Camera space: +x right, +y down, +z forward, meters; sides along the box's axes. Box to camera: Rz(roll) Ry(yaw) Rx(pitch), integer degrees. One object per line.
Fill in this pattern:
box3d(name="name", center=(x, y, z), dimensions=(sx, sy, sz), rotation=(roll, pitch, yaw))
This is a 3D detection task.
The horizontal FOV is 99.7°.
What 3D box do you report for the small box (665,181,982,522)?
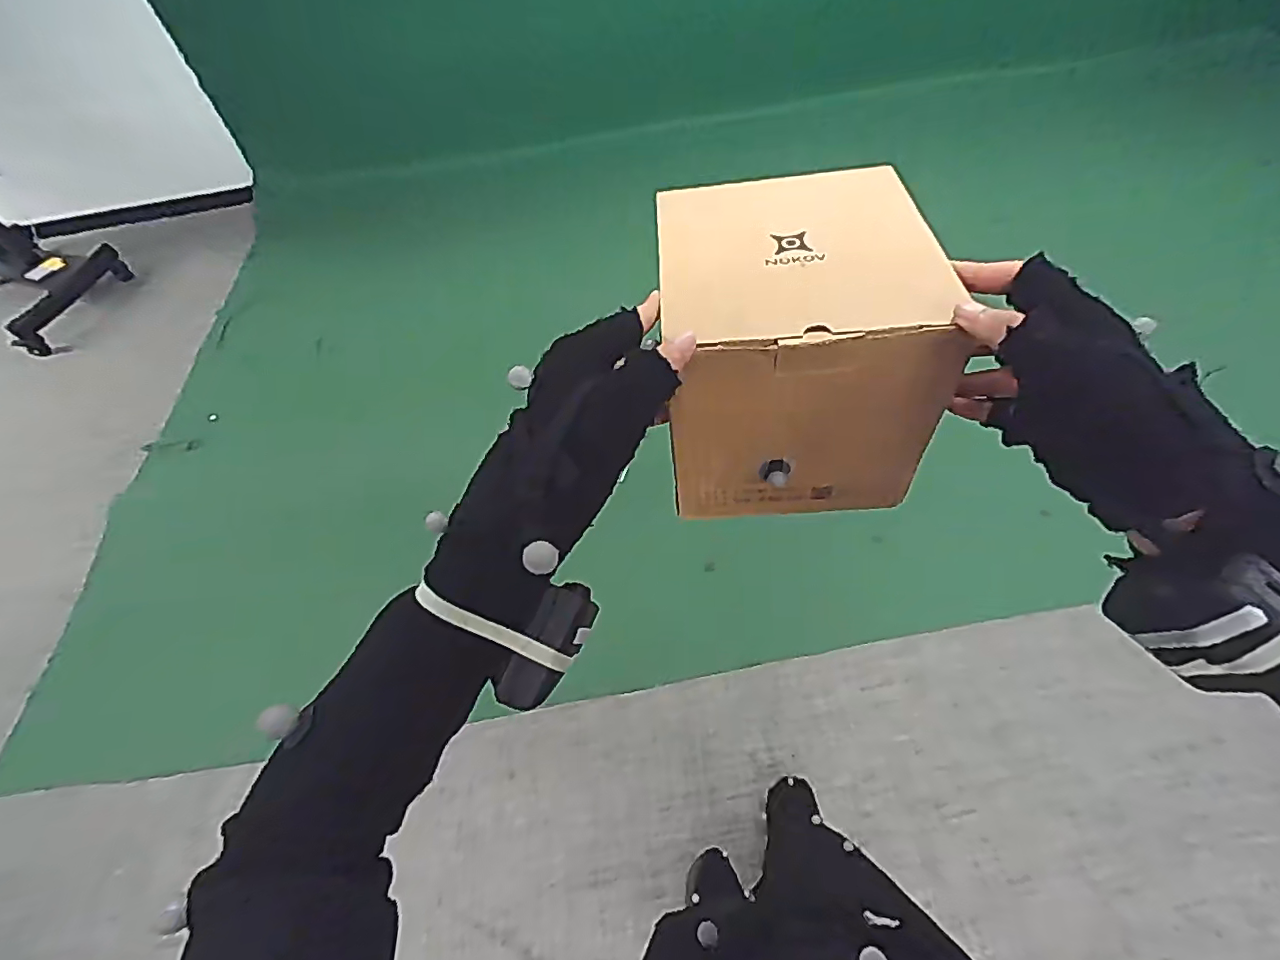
box3d(name="small box", center=(0.105, -0.089, 0.399), dimensions=(0.168, 0.176, 0.179), rotation=(-4, 53, 5))
